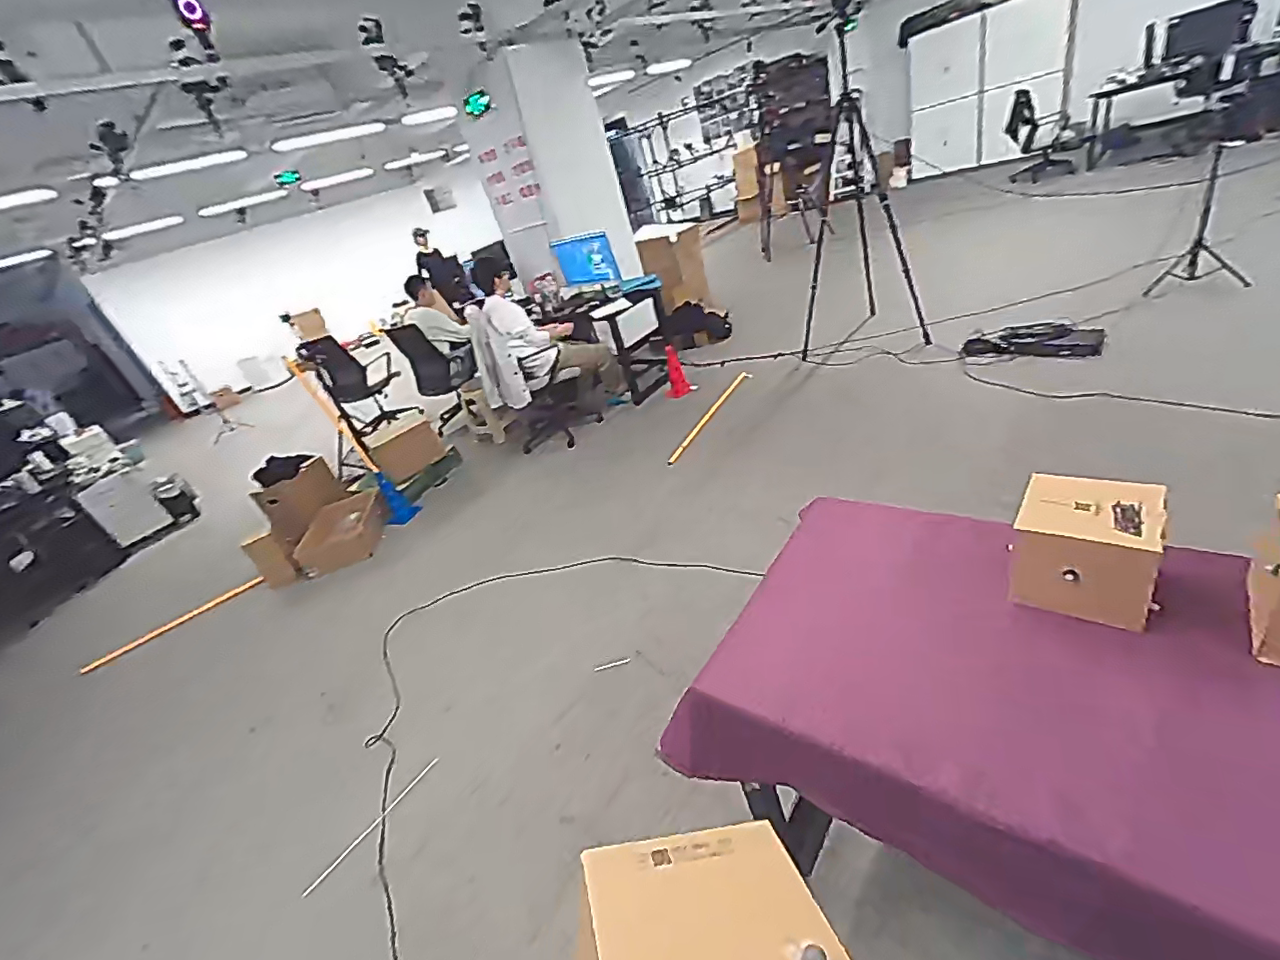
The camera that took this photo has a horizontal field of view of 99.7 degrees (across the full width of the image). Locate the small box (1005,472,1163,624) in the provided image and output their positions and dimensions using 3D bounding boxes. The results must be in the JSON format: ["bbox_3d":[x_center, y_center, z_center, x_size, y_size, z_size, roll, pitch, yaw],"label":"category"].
[{"bbox_3d":[0.724,0.110,0.891,0.179,0.176,0.168,9,40,42],"label":"small box"}]

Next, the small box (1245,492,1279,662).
[{"bbox_3d":[0.940,0.142,0.711,0.168,0.176,0.179,8,41,40],"label":"small box"}]
